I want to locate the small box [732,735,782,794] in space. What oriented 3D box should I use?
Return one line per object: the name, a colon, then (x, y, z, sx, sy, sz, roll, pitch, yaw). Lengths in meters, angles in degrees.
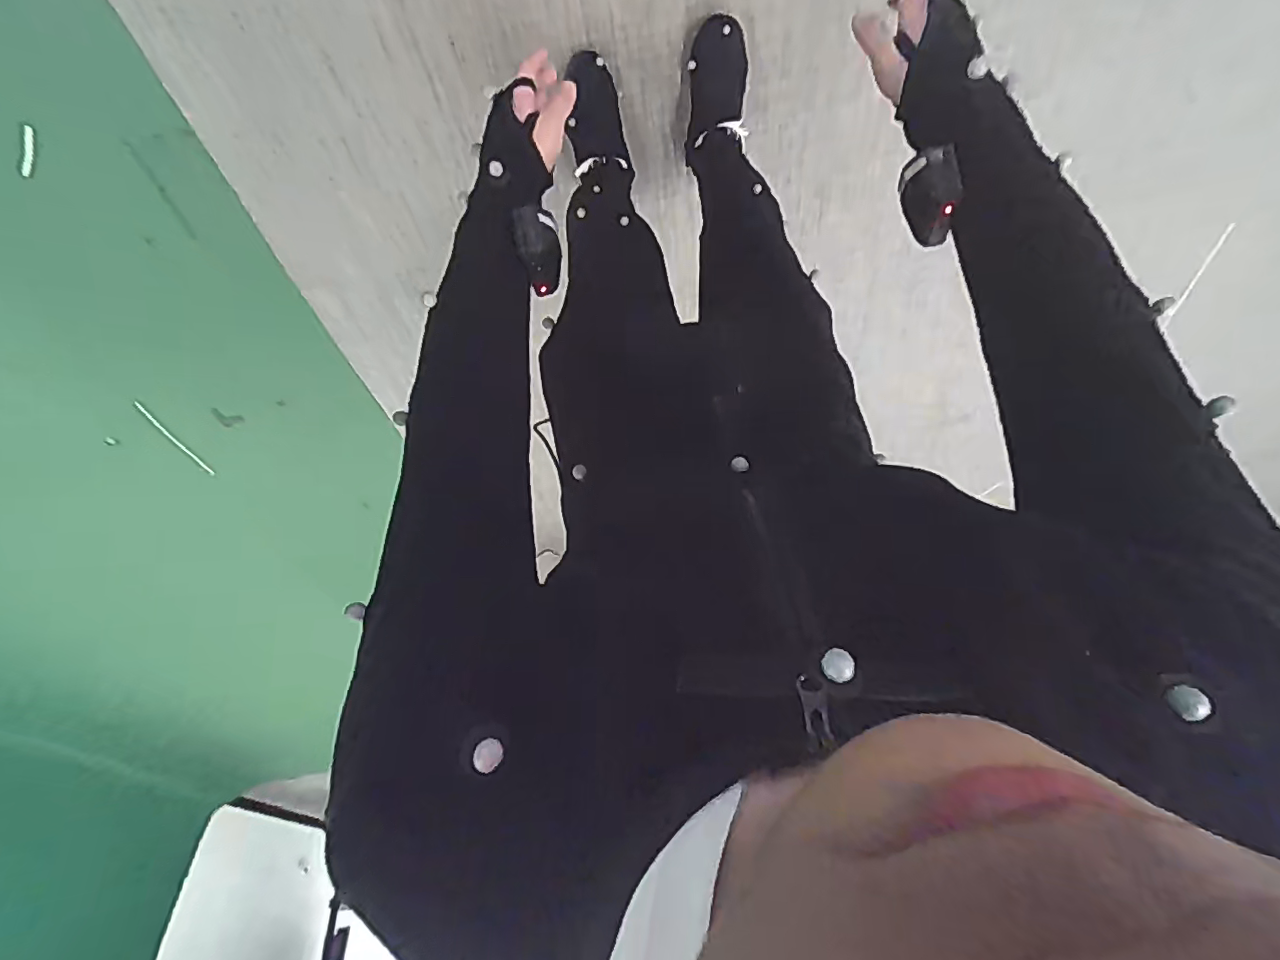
small box: (0.468, 1.142, 2.179, 0.168, 0.176, 0.179, -10, 139, 4)
